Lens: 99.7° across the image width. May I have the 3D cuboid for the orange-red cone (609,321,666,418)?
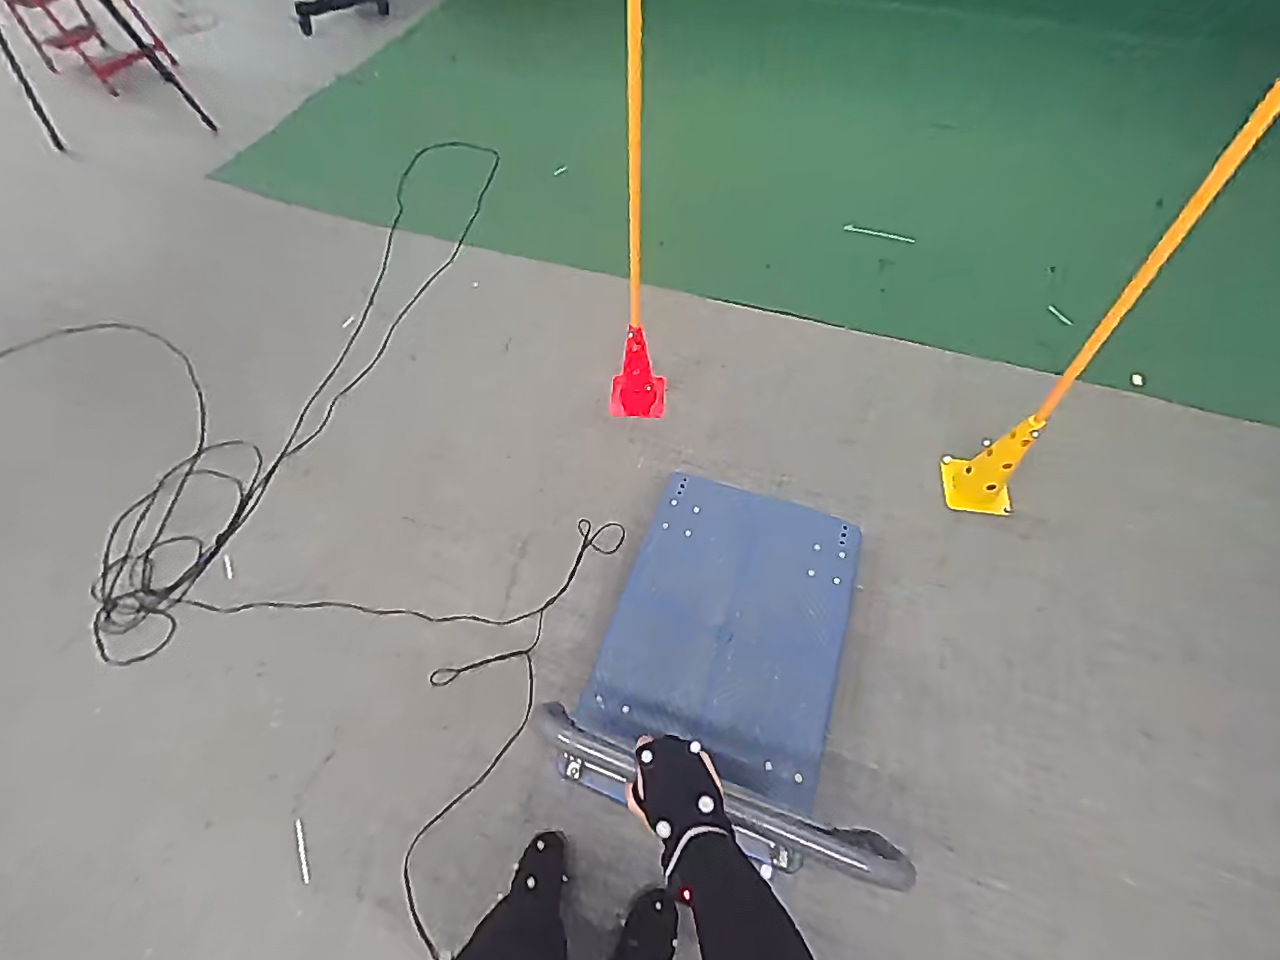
[{"bbox_3d":[-0.015,-0.399,1.865,0.199,0.360,0.198,3,59,5],"label":"orange-red cone"}]
